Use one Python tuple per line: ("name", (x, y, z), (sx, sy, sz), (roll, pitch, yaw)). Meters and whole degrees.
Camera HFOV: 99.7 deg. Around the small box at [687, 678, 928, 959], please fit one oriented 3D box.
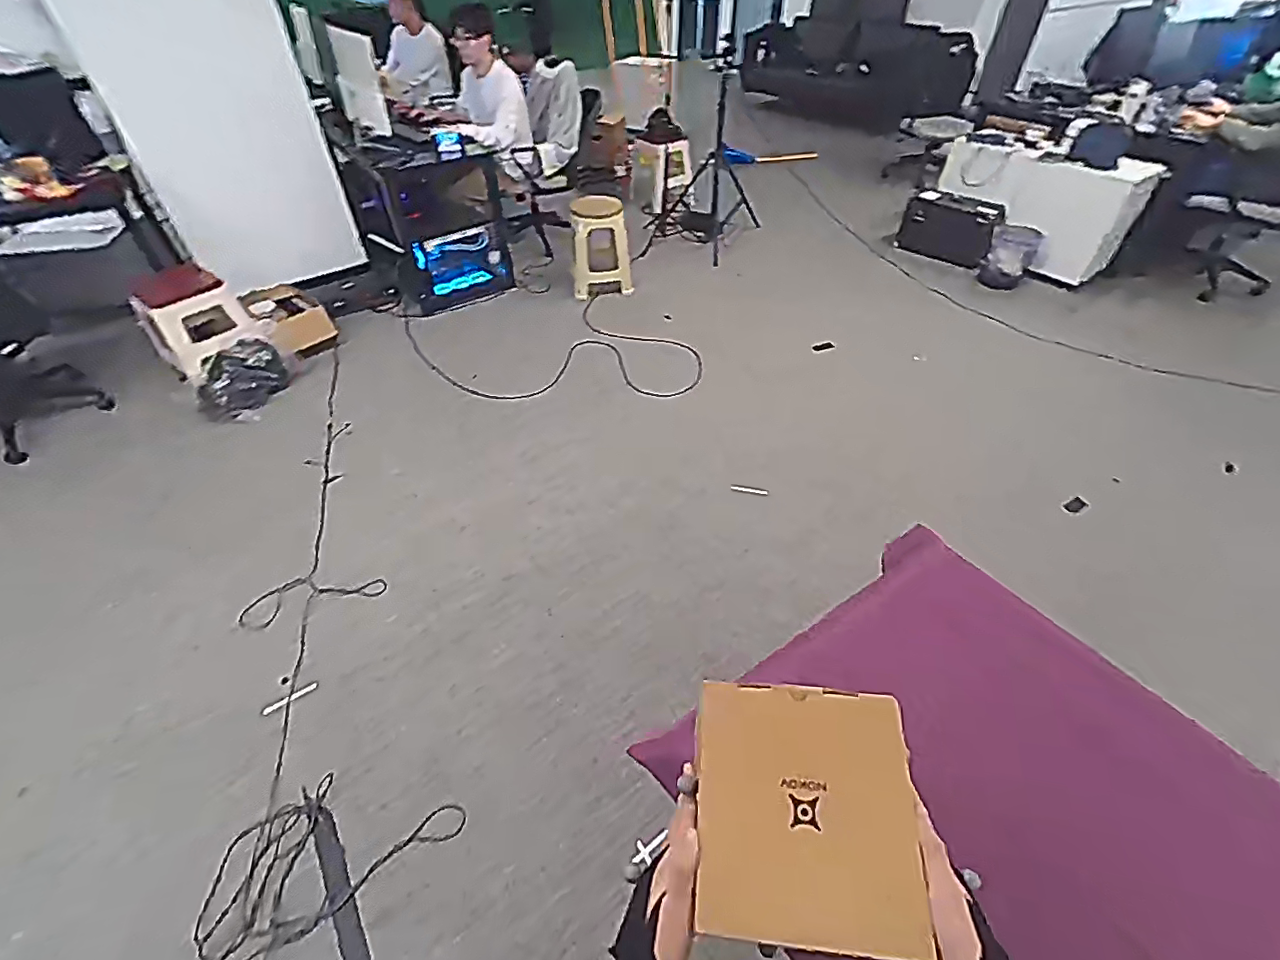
("small box", (0.128, 0.293, 0.485), (0.168, 0.176, 0.179), (2, 56, 5))
